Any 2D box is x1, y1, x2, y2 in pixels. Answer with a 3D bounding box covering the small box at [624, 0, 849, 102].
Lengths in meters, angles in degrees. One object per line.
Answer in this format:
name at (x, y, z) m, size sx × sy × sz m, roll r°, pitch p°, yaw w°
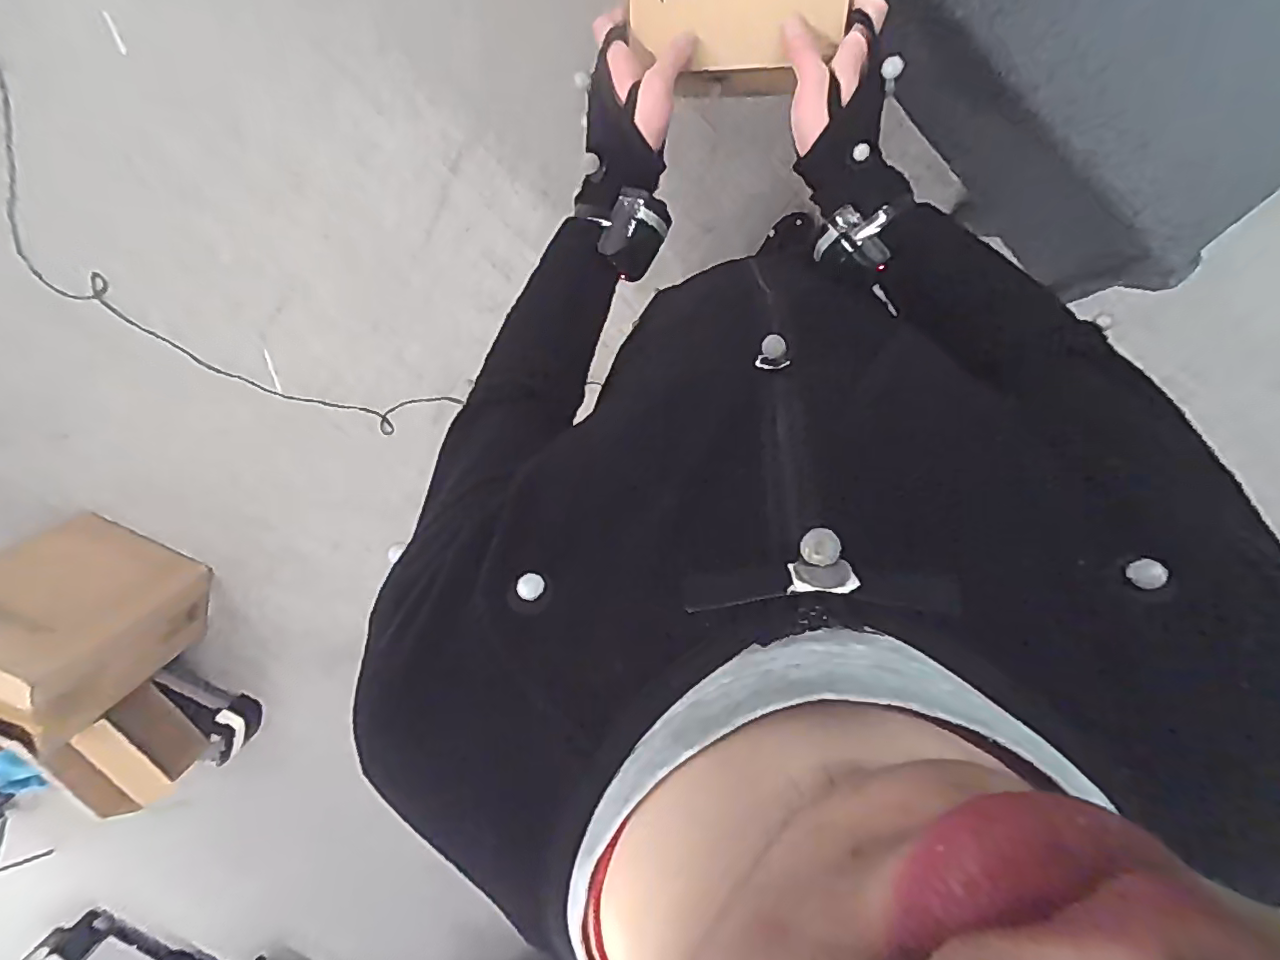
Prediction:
small box at (0.083, -0.441, 0.471) m, size 0.179 × 0.176 × 0.168 m, roll 2°, pitch 119°, yaw 6°
